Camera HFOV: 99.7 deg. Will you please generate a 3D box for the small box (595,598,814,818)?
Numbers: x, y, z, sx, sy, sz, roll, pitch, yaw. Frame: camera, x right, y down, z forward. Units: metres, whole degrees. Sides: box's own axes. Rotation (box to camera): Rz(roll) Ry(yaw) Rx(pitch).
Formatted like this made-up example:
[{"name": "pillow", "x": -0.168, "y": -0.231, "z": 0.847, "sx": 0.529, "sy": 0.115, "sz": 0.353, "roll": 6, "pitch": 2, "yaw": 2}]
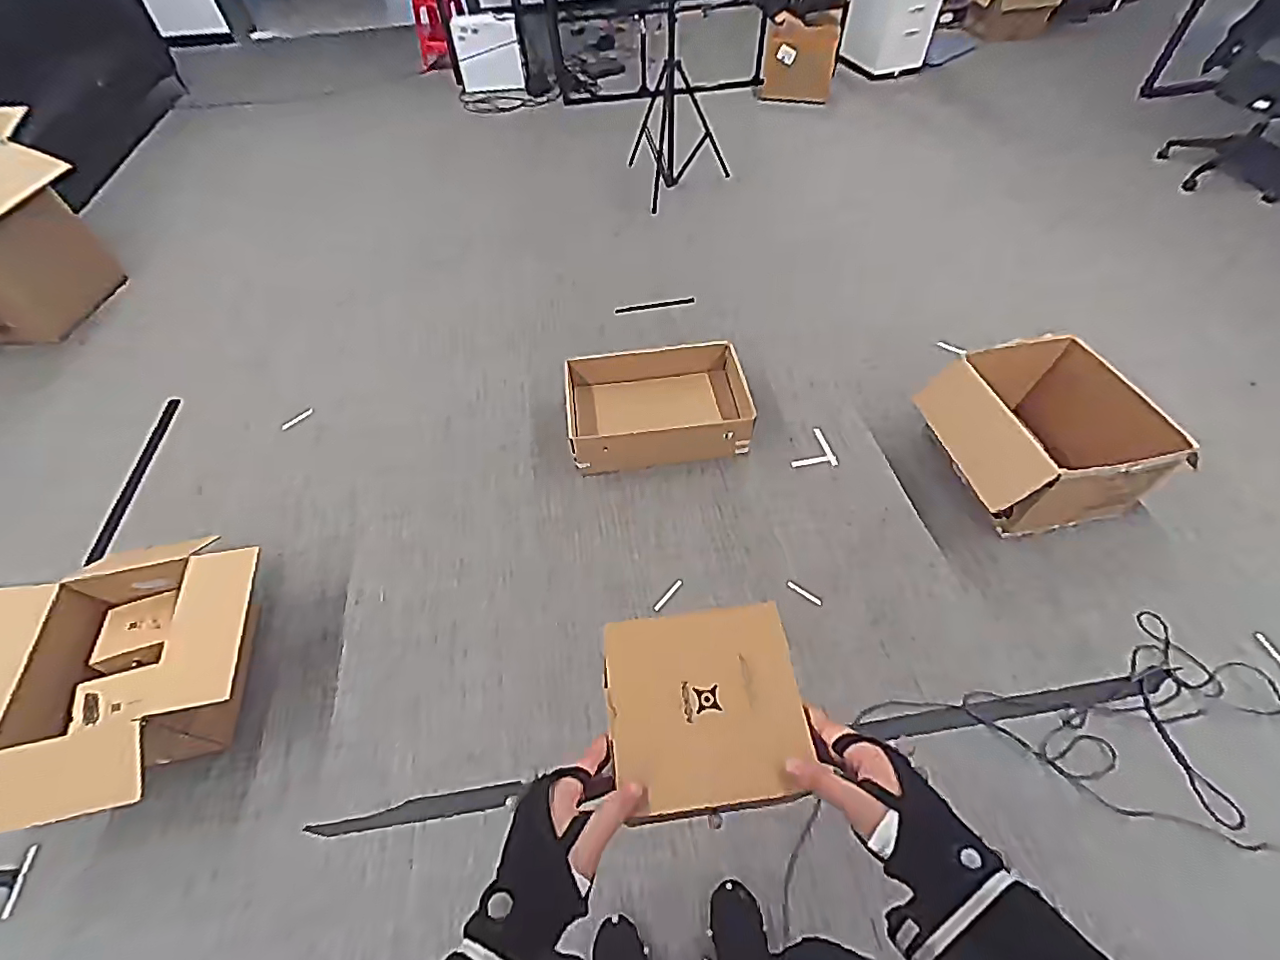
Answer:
[{"name": "small box", "x": 0.054, "y": 0.239, "z": 0.557, "sx": 0.179, "sy": 0.176, "sz": 0.168, "roll": -7, "pitch": 57, "yaw": -3}]
